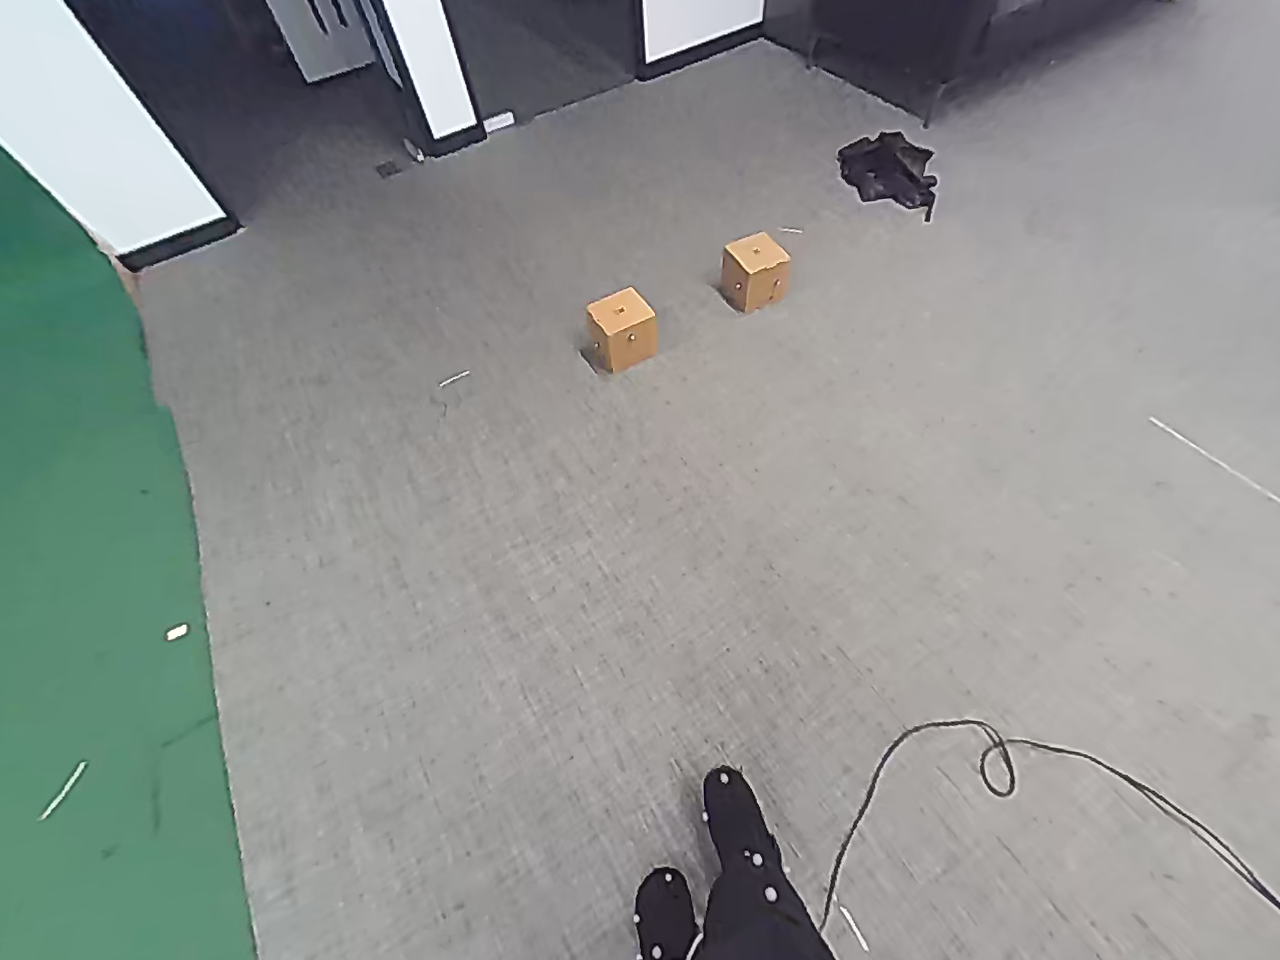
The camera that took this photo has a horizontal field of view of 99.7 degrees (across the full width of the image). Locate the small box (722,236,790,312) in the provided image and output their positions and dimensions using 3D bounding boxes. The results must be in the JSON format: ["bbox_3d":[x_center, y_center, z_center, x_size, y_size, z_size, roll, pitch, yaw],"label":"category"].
[{"bbox_3d":[0.402,-0.715,1.899,0.168,0.176,0.179,-23,58,-11],"label":"small box"}]

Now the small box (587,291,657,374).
[{"bbox_3d":[-0.056,-0.485,1.790,0.179,0.176,0.168,-27,60,-12],"label":"small box"}]
